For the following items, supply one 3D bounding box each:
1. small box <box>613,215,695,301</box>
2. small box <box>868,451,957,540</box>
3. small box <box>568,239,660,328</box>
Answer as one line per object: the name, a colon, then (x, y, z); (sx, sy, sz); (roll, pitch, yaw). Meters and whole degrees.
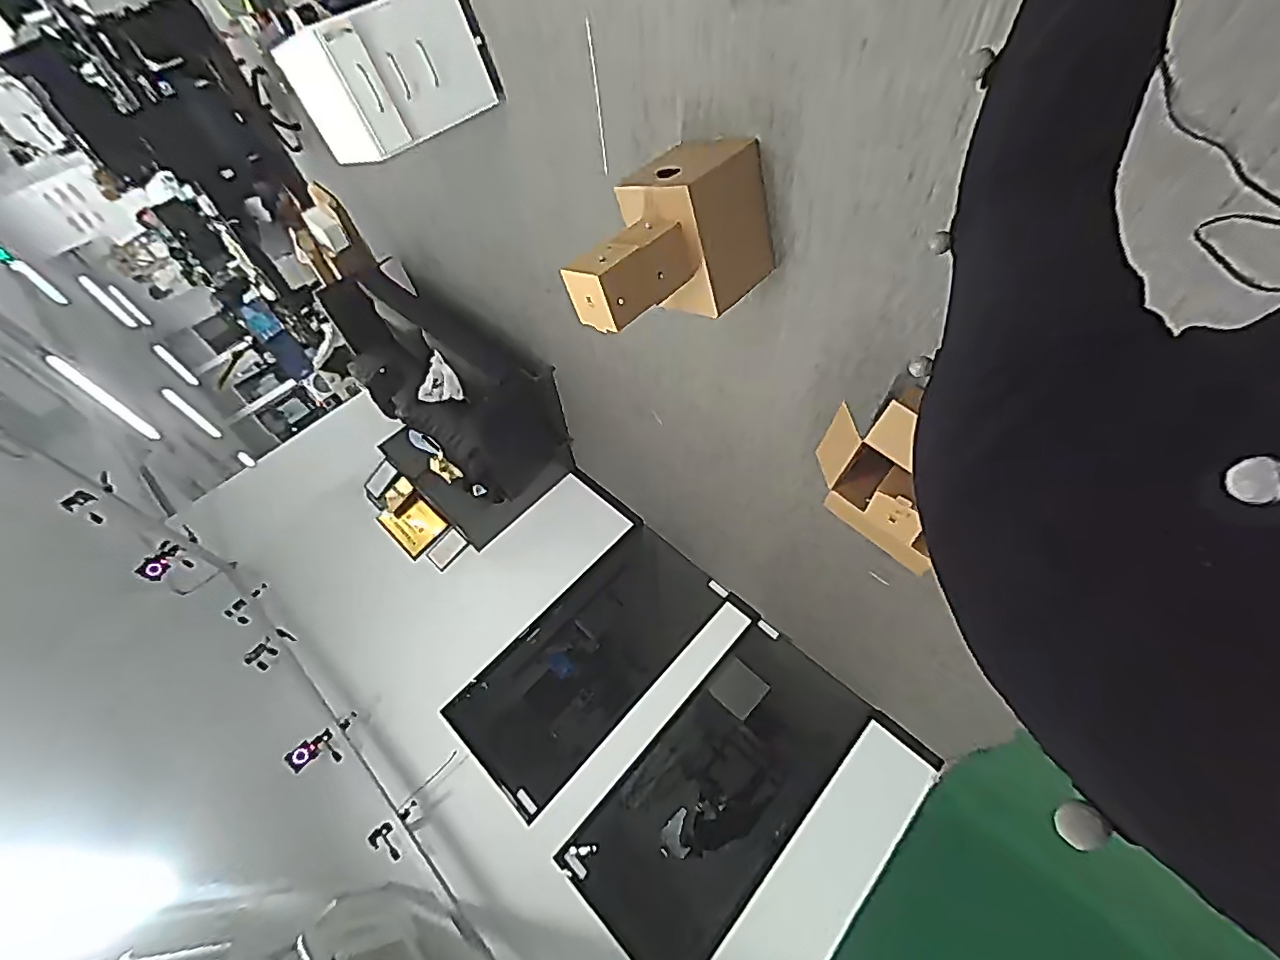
small box: (0.043, -0.664, 1.614); (0.168, 0.176, 0.179); (27, 151, 40)
small box: (0.841, 0.047, 1.668); (0.168, 0.176, 0.179); (34, 156, 25)
small box: (-0.070, -0.568, 1.547); (0.168, 0.176, 0.179); (27, 152, 40)
